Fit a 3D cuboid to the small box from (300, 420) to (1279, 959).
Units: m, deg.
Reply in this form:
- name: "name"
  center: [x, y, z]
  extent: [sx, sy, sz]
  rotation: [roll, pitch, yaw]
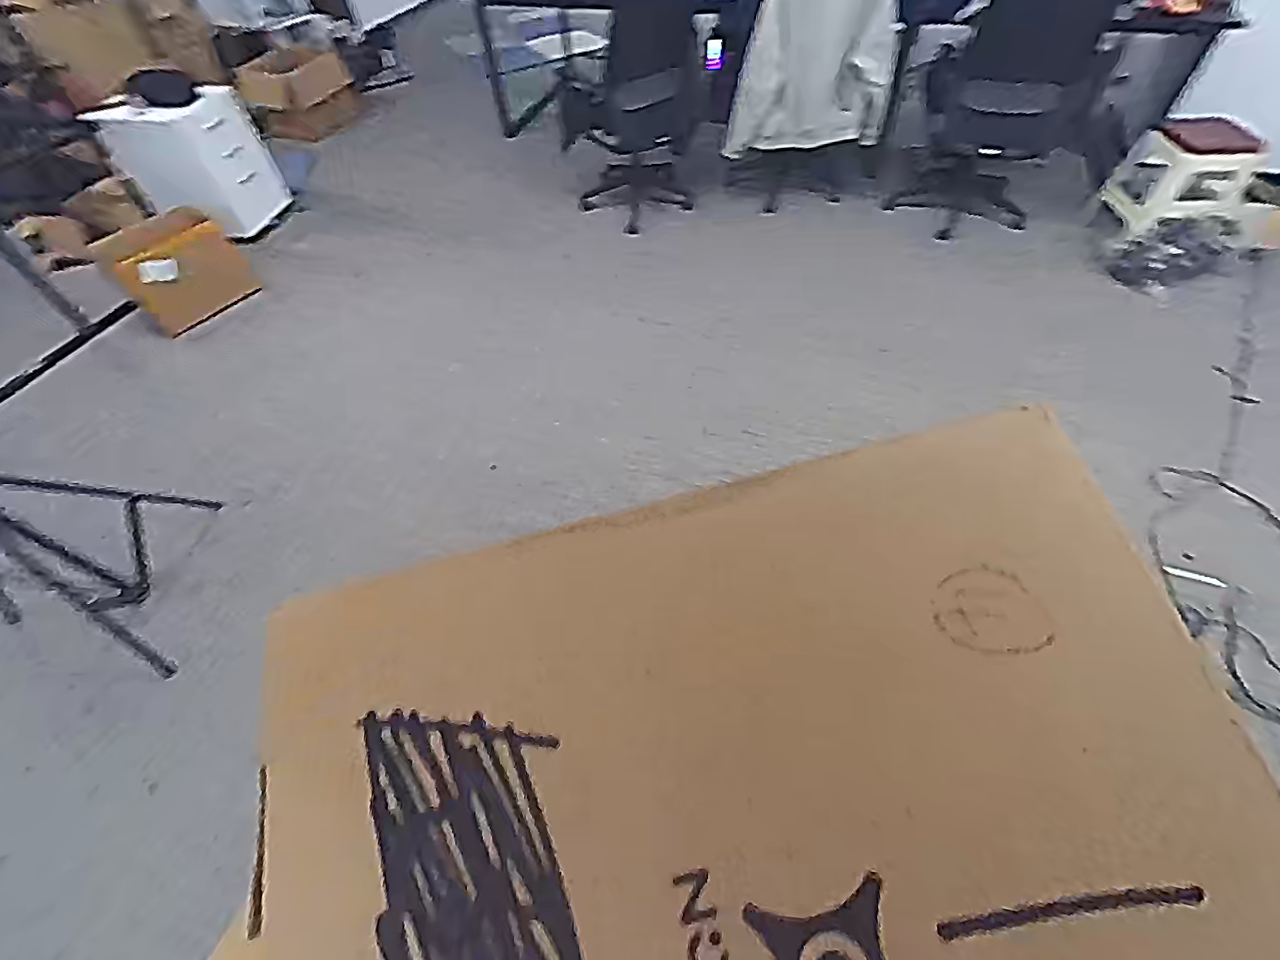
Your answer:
- name: "small box"
  center: [0.036, 0.109, 0.161]
  extent: [0.179, 0.176, 0.168]
  rotation: [-14, 68, 0]
